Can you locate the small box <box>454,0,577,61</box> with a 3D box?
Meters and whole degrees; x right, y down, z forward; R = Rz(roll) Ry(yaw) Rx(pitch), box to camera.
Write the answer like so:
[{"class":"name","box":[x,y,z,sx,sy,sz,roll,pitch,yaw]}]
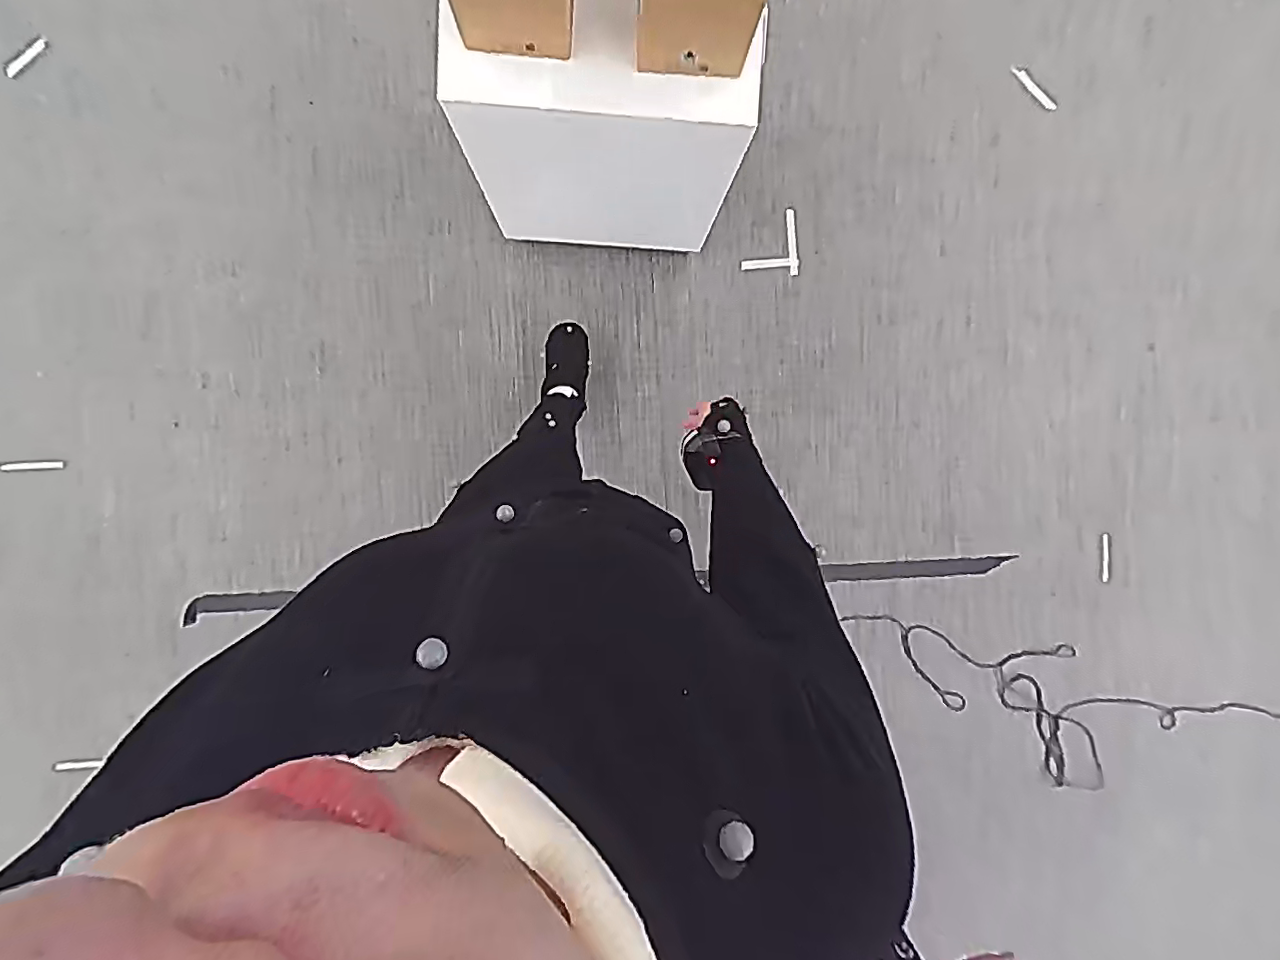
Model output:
[{"class":"small box","box":[-0.176,-0.738,0.750,0.168,0.176,0.179,3,92,-3]}]
